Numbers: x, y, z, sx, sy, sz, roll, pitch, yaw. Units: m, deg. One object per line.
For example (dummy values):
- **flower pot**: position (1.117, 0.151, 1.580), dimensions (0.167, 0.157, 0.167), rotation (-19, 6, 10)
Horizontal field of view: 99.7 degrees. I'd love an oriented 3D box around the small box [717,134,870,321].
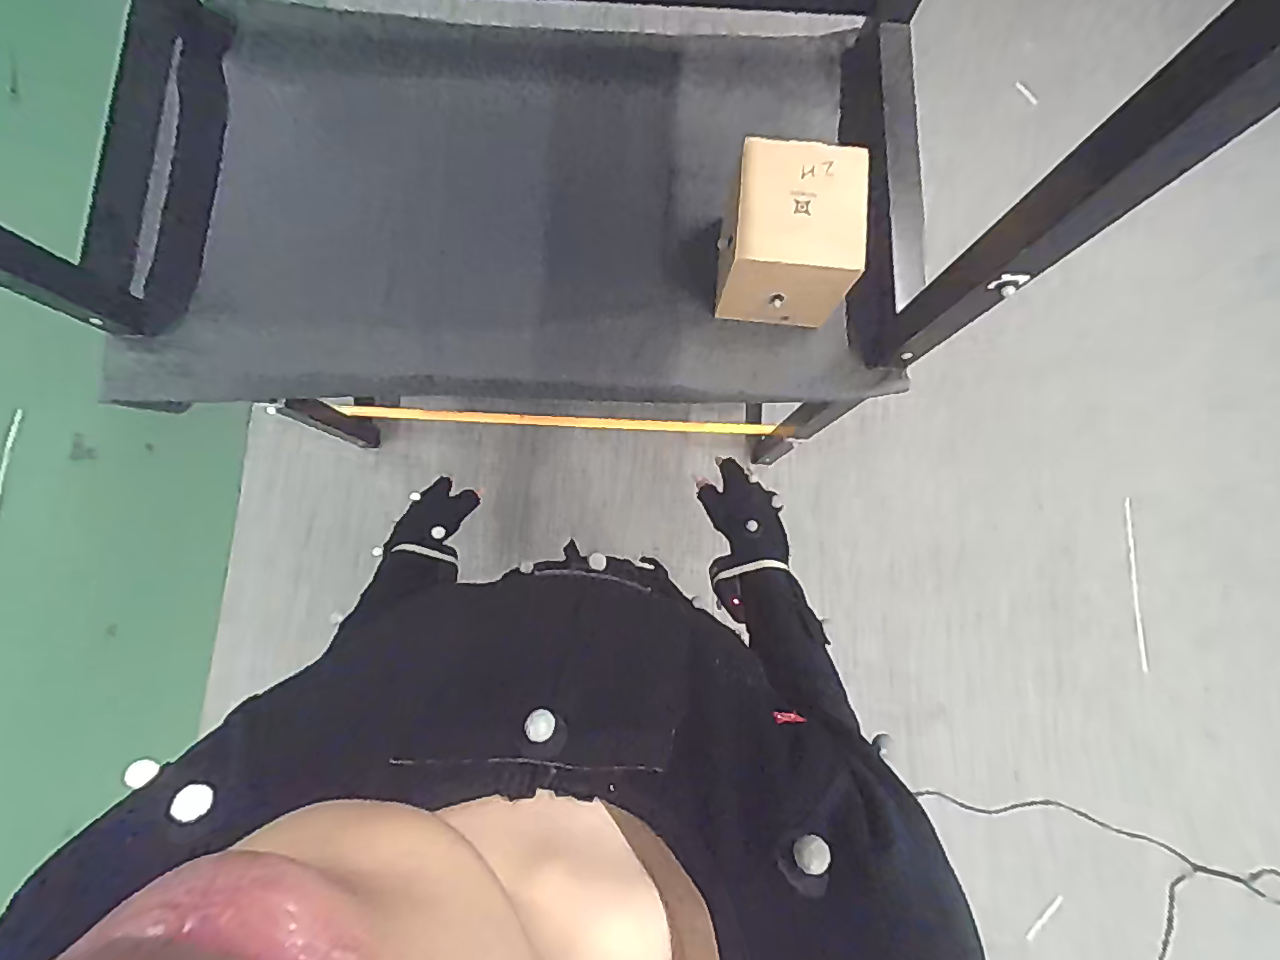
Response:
- **small box**: position (0.208, -0.345, 0.769), dimensions (0.168, 0.176, 0.179), rotation (6, 81, -1)
